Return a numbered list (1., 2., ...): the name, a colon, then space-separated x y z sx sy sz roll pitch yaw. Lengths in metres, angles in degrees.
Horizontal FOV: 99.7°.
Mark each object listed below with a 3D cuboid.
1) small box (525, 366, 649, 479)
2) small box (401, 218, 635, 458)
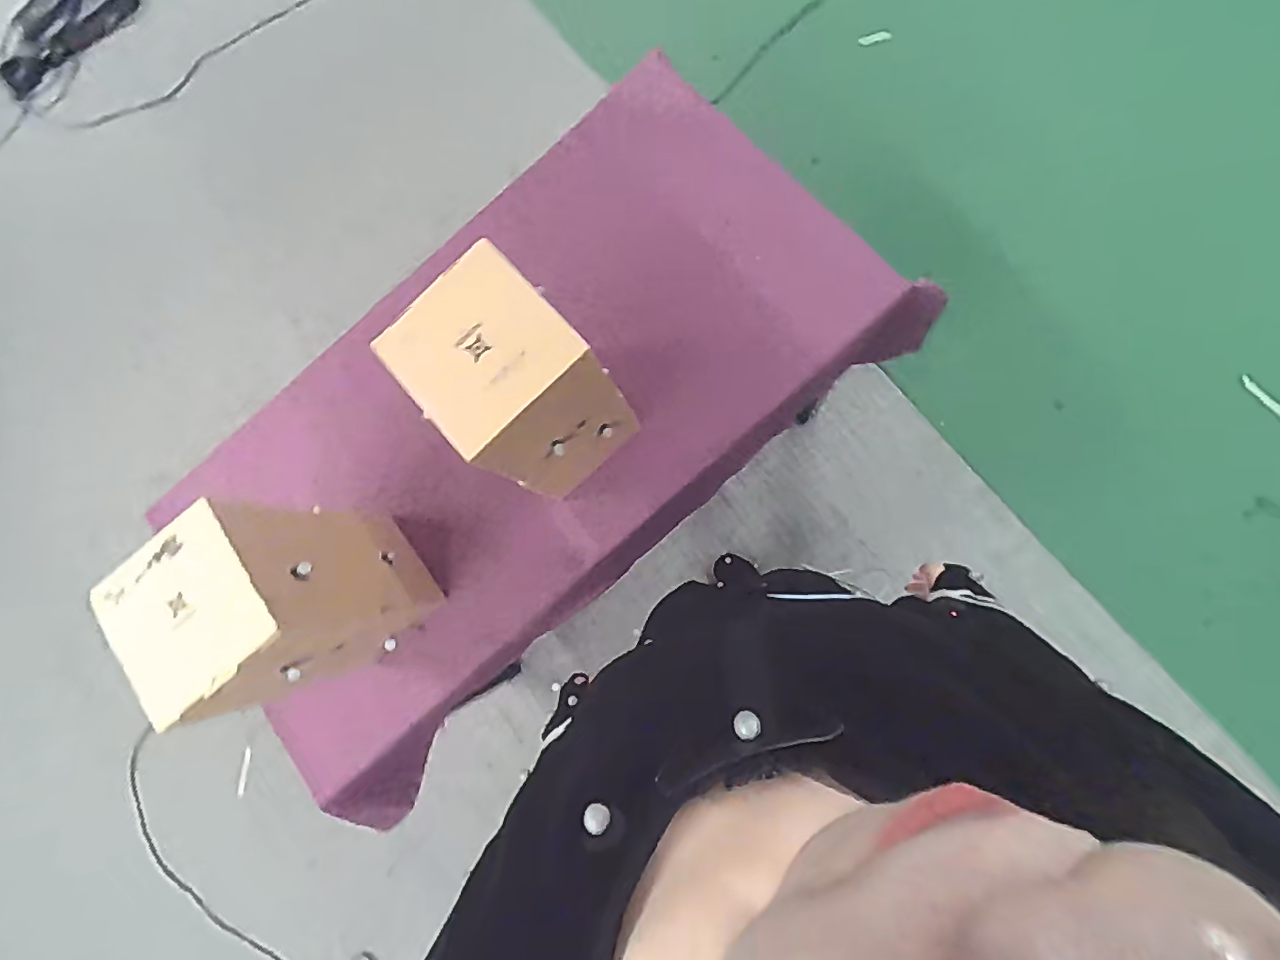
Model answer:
1. small box: -0.100 -0.122 0.785 0.179 0.176 0.168 -37 78 2
2. small box: -0.127 -0.147 0.626 0.168 0.176 0.179 -38 79 2
